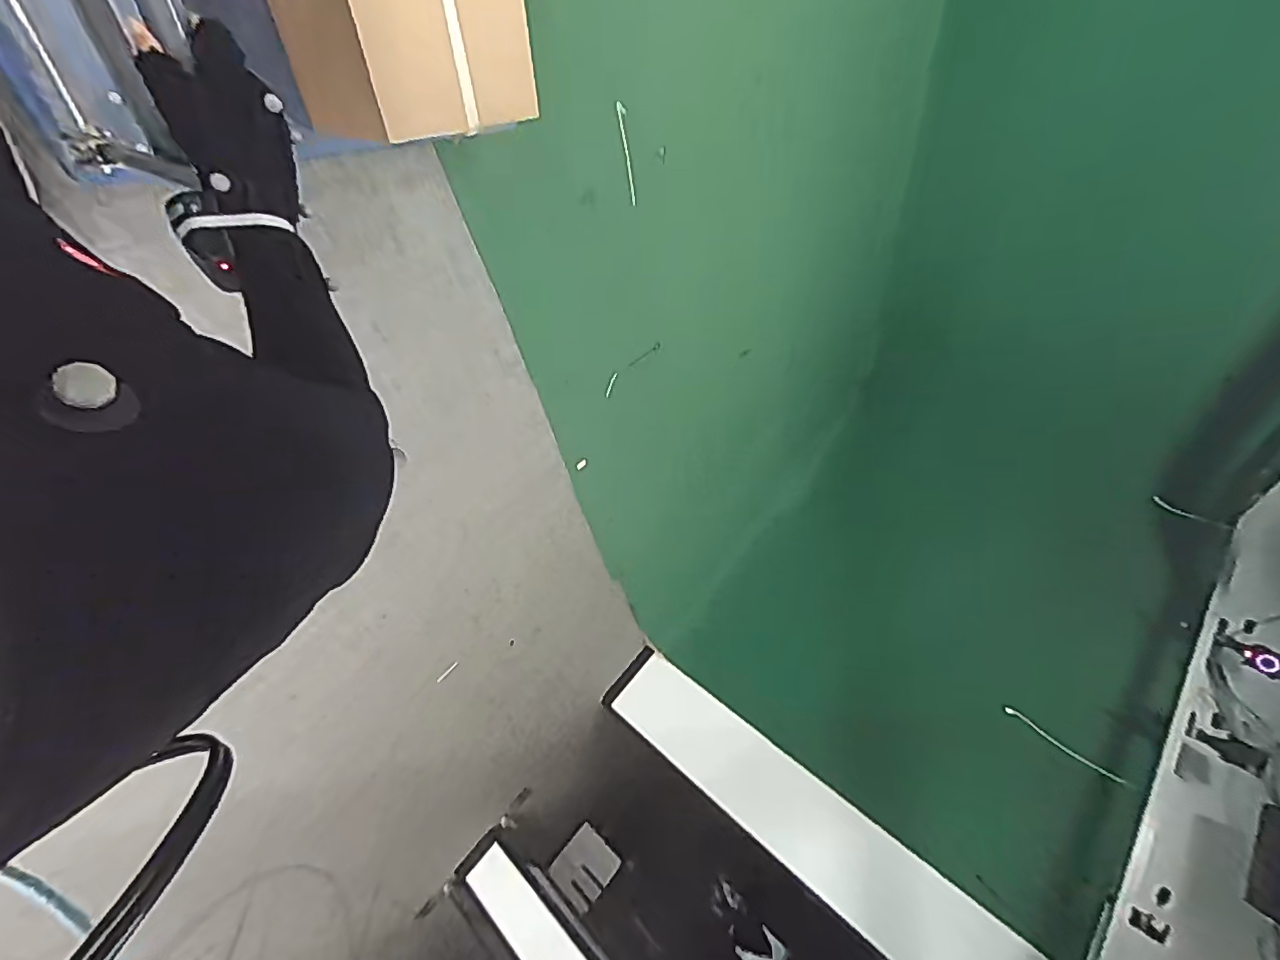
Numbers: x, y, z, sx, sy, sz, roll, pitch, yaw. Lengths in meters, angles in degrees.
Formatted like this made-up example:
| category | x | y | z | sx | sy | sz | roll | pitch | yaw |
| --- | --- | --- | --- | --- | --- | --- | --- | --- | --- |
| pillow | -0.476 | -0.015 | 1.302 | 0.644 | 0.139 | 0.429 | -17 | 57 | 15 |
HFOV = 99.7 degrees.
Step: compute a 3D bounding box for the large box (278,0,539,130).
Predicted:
| category | x | y | z | sx | sy | sz | roll | pitch | yaw |
| --- | --- | --- | --- | --- | --- | --- | --- | --- | --- |
| large box | -0.416 | -0.856 | 0.907 | 0.320 | 0.320 | 0.408 | -36 | 140 | -31 |
